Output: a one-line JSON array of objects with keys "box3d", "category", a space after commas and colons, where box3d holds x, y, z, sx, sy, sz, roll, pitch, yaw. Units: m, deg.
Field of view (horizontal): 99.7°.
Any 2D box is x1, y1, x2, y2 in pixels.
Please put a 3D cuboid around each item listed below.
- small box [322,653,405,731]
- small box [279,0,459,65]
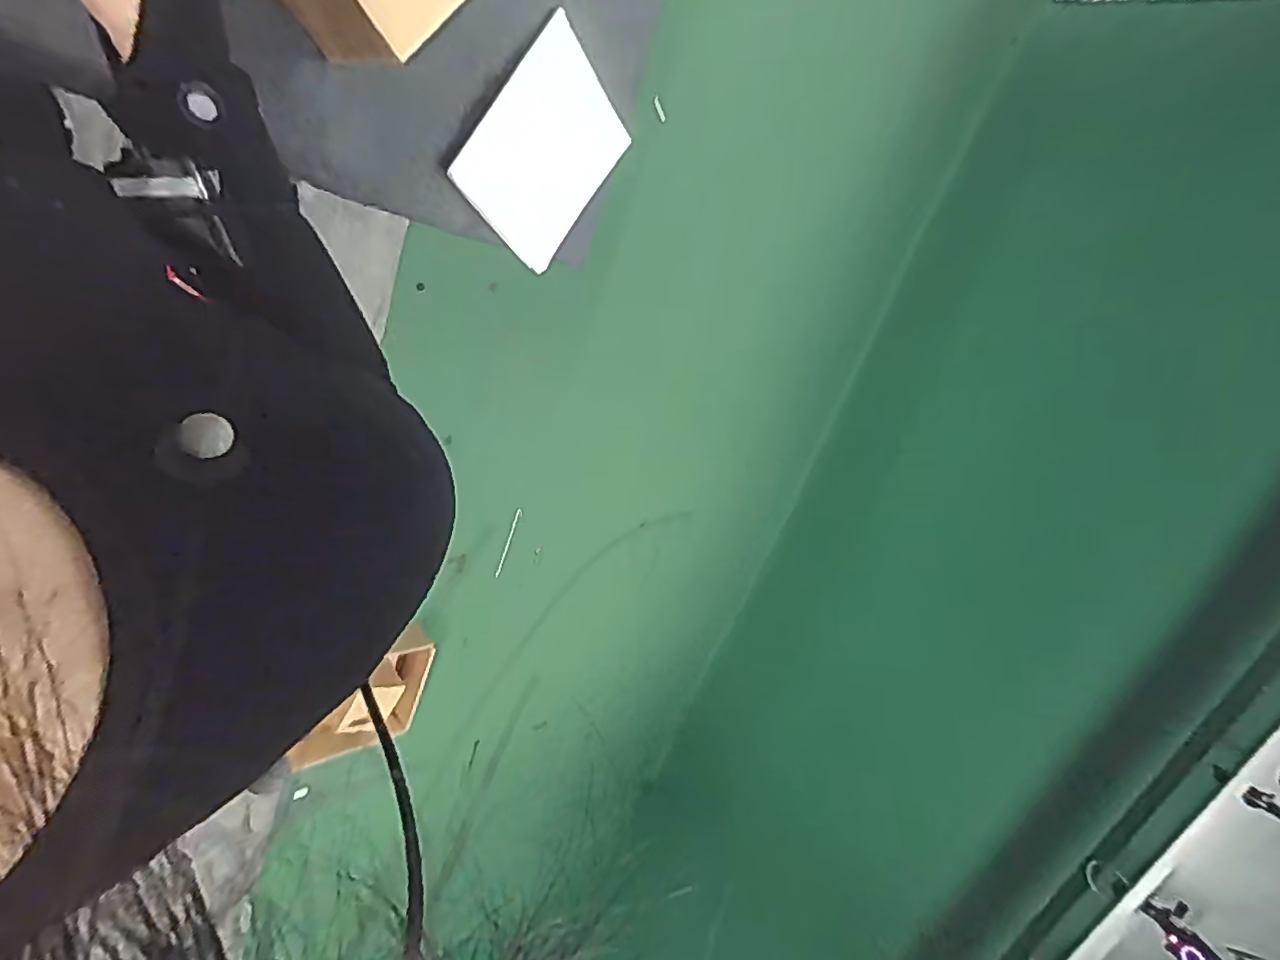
[{"box3d": [-0.929, 0.704, 1.806, 0.168, 0.176, 0.179, 26, 96, -54], "category": "small box"}, {"box3d": [-0.258, -0.507, 0.470, 0.168, 0.176, 0.179, -53, 144, -7], "category": "small box"}]
